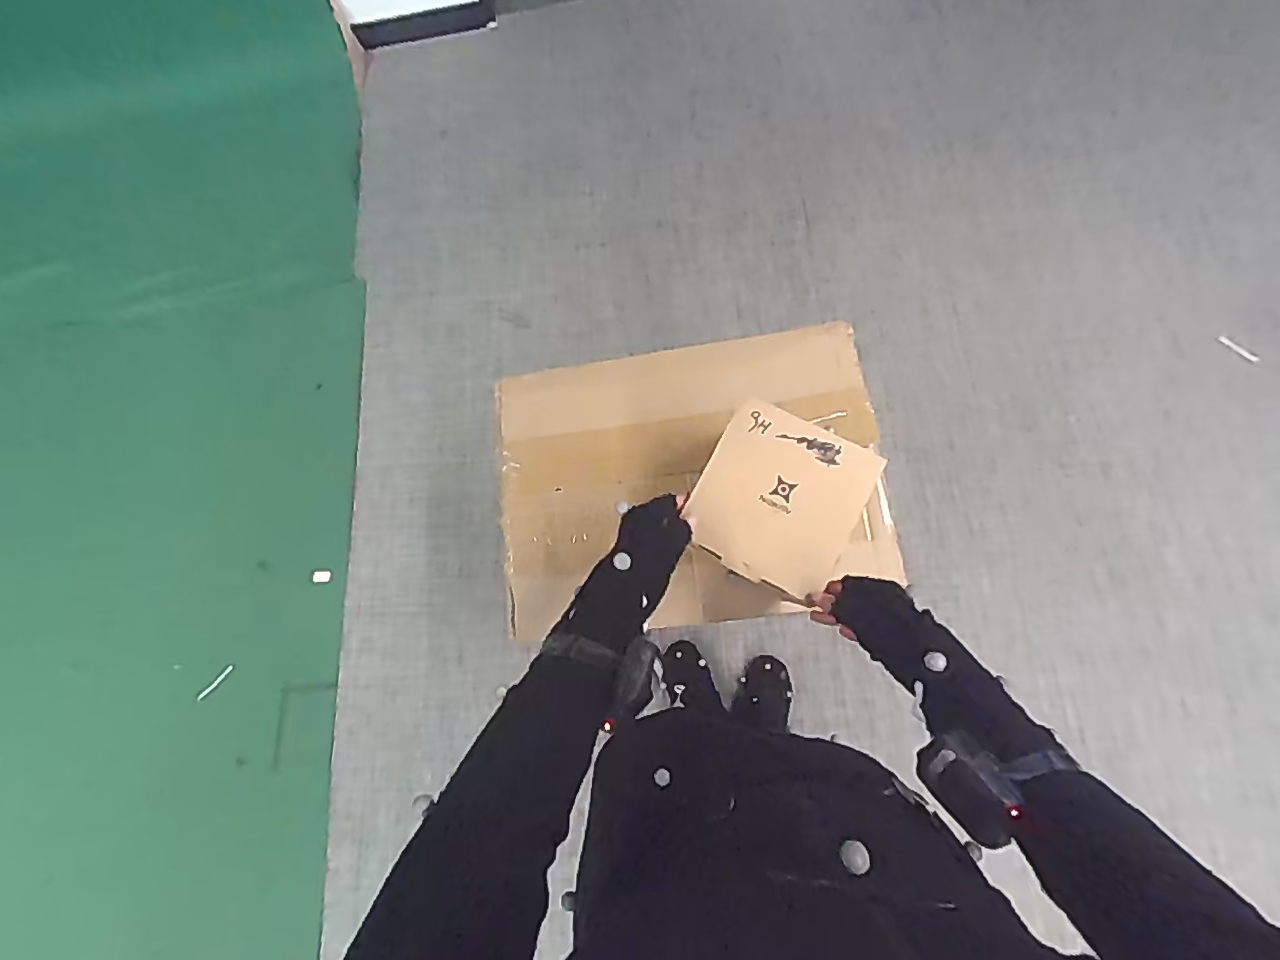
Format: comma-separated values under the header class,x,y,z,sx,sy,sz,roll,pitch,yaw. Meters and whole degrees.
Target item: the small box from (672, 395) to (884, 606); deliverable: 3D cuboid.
class,x,y,z,sx,sy,sz,roll,pitch,yaw
small box,0.155,0.031,0.653,0.168,0.176,0.179,30,85,10
